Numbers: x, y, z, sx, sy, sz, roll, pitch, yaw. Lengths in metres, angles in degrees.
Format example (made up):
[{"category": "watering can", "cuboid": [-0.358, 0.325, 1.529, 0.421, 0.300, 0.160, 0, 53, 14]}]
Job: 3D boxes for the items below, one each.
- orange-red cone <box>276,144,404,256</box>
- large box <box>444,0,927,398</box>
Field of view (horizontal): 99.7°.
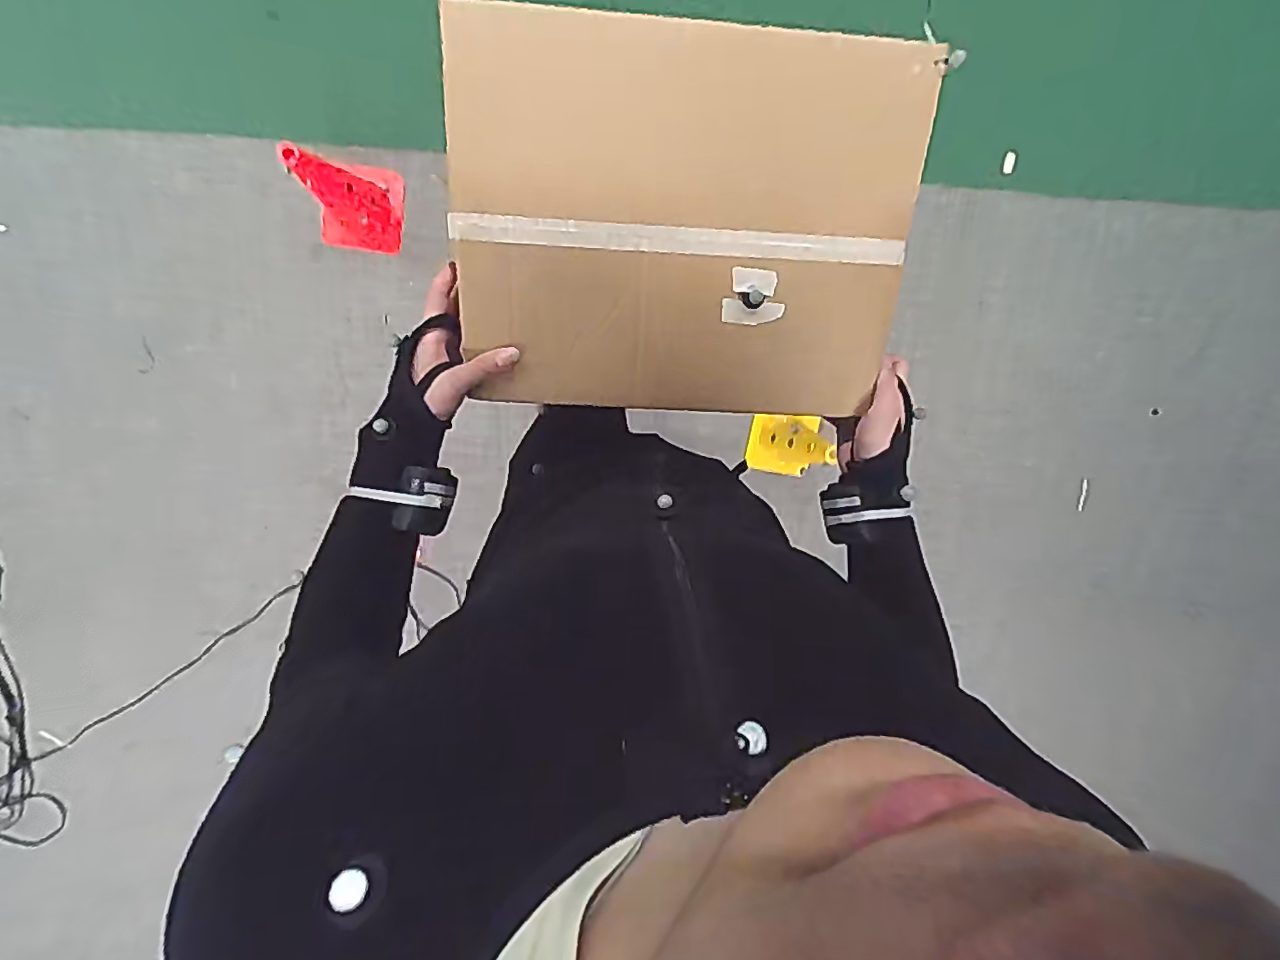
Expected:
[{"category": "orange-red cone", "cuboid": [-0.708, -0.665, 1.226, 0.199, 0.360, 0.198, 8, 99, -5]}, {"category": "large box", "cuboid": [0.027, -0.283, 0.628, 0.408, 0.320, 0.320, 1, 112, -4]}]
